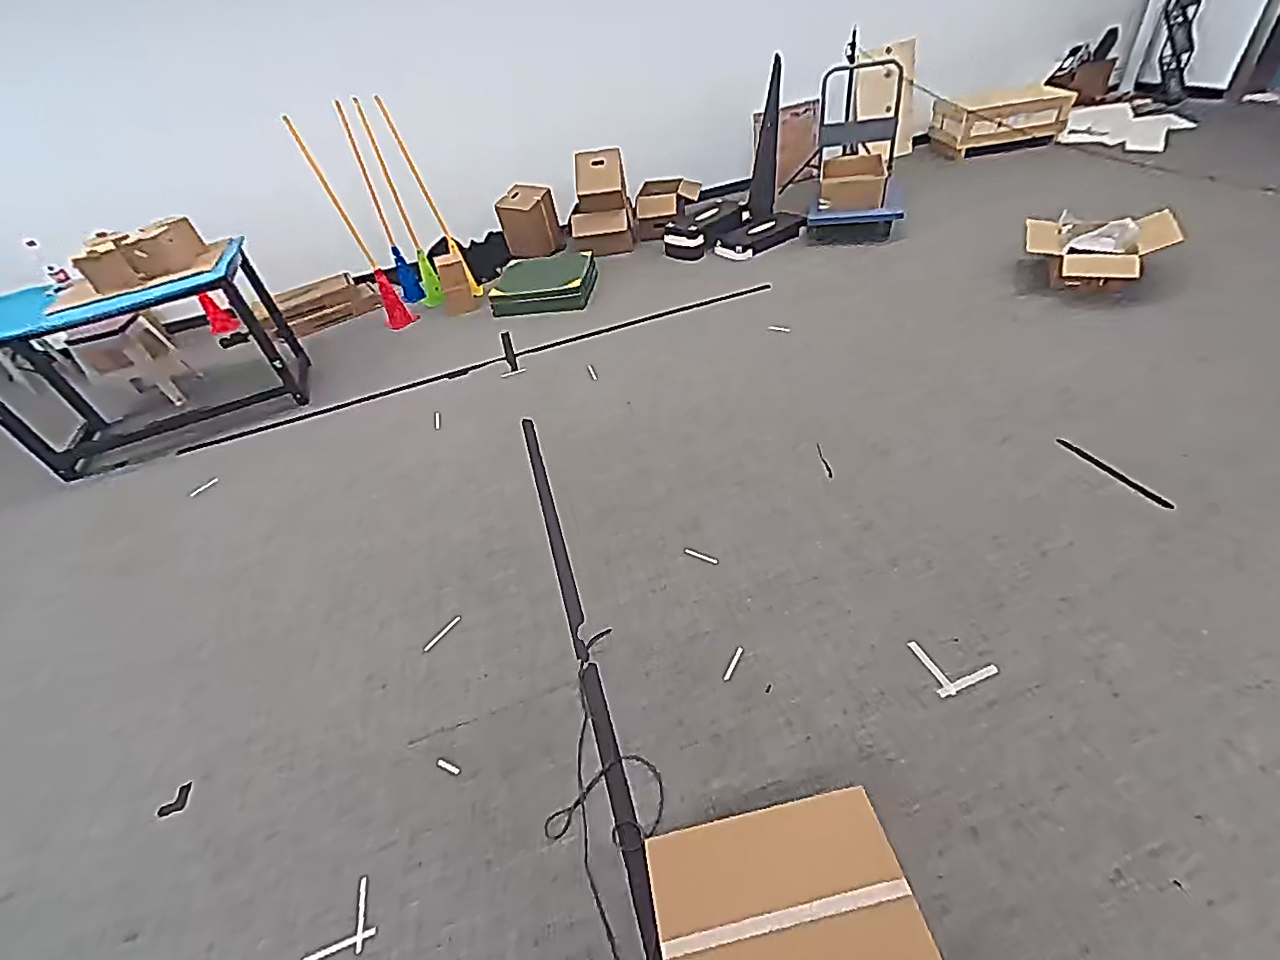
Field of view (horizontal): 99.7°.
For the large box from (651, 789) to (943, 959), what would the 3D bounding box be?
[{"bbox_3d":[0.258,0.808,0.946,0.408,0.320,0.320,-13,42,-2],"label":"large box"}]
